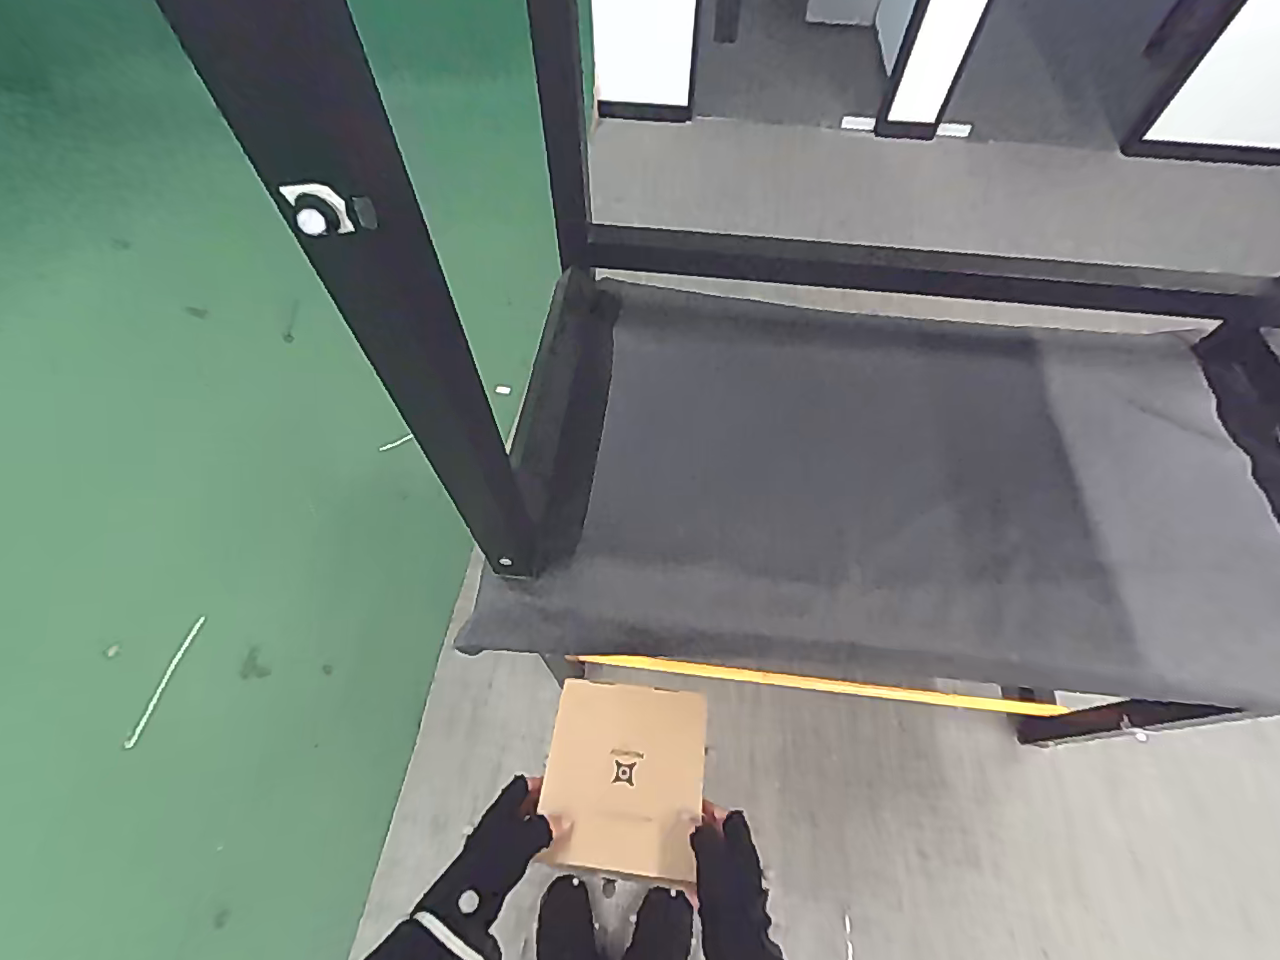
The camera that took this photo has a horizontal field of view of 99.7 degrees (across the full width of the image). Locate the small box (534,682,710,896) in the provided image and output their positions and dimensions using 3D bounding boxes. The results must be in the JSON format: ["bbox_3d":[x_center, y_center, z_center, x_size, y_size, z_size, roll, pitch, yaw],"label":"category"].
[{"bbox_3d":[-0.009,0.357,0.625,0.168,0.176,0.179,3,51,7],"label":"small box"}]
